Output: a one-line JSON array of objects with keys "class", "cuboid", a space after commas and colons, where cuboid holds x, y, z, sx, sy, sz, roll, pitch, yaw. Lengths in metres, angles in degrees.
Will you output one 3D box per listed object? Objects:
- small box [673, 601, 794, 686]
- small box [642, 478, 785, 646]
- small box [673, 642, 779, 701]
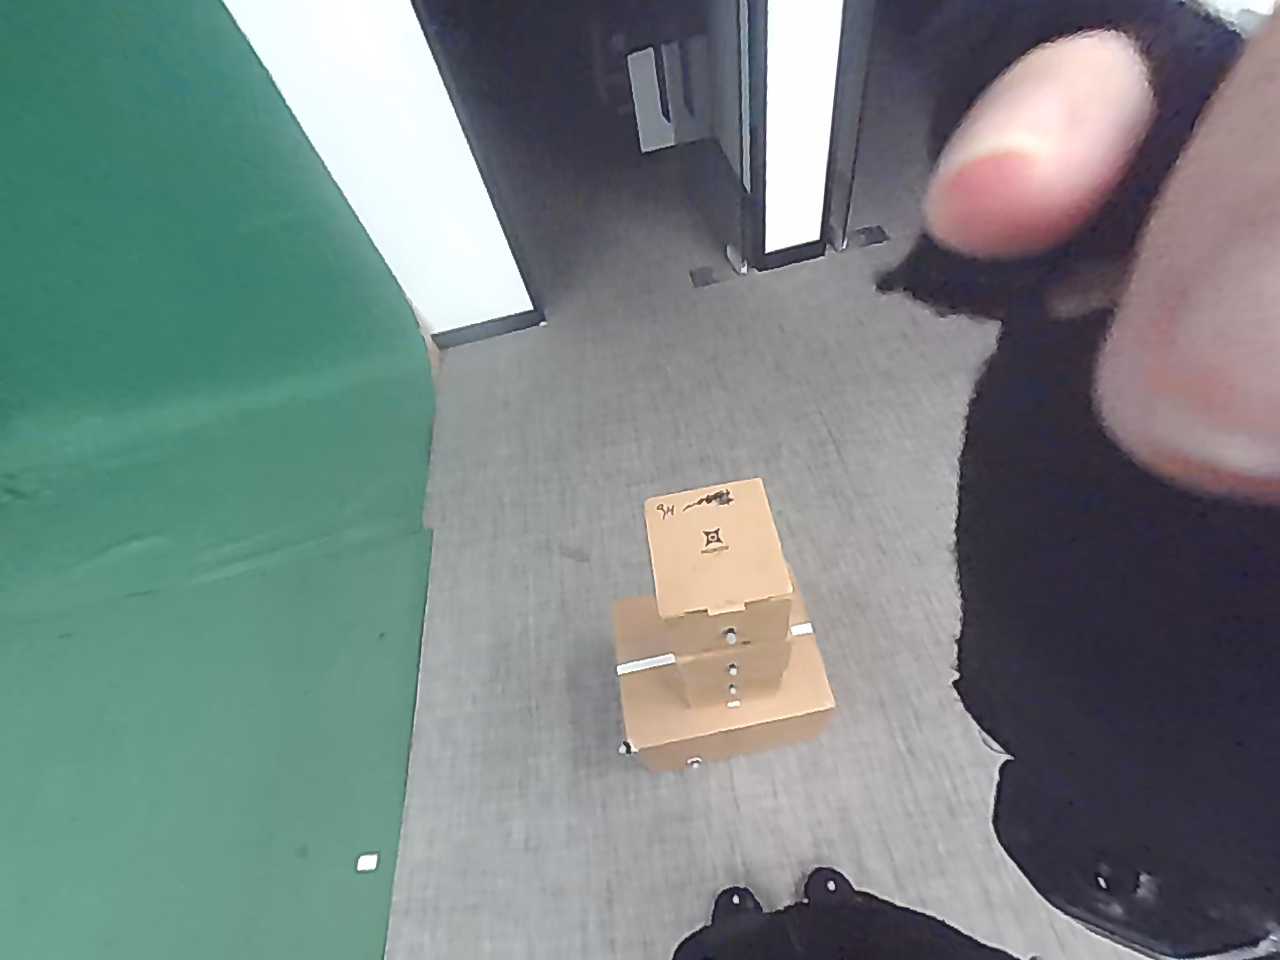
[{"class": "small box", "cuboid": [0.135, 0.222, 0.890, 0.179, 0.176, 0.168, -15, 55, 1]}, {"class": "small box", "cuboid": [0.104, 0.124, 0.762, 0.168, 0.176, 0.179, -10, 56, 6]}, {"class": "small box", "cuboid": [0.155, 0.309, 1.028, 0.179, 0.176, 0.168, -11, 56, 3]}]
